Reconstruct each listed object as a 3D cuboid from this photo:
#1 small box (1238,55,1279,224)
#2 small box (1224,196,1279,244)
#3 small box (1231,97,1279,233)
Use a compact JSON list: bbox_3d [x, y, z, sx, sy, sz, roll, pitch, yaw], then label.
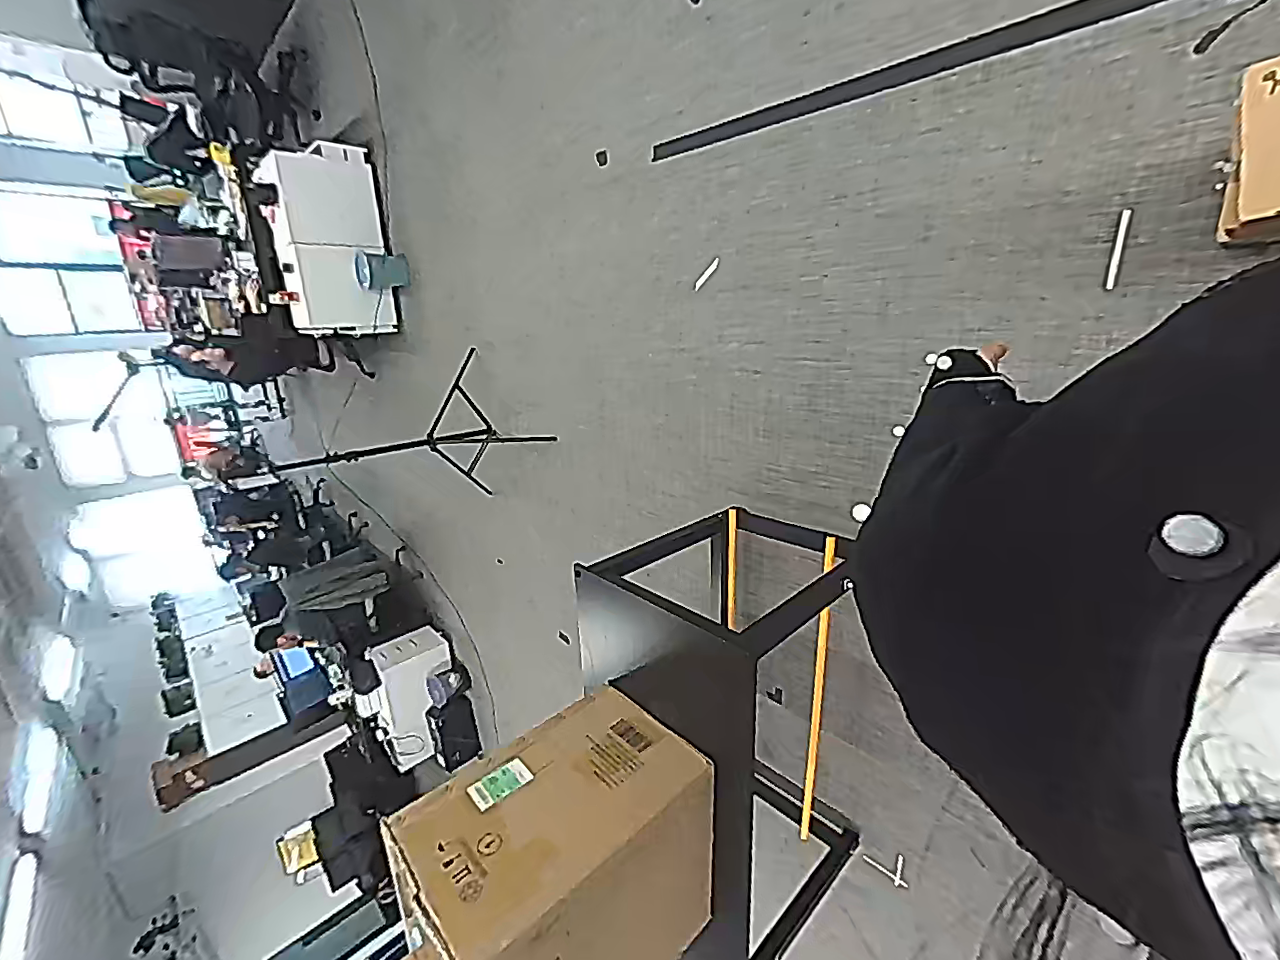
[{"bbox_3d":[0.835,-0.415,0.635,0.168,0.176,0.179,3,106,49],"label":"small box"},{"bbox_3d":[1.068,-0.483,0.858,0.168,0.176,0.179,13,114,47],"label":"small box"},{"bbox_3d":[0.948,-0.458,0.747,0.168,0.176,0.179,6,108,49],"label":"small box"}]
